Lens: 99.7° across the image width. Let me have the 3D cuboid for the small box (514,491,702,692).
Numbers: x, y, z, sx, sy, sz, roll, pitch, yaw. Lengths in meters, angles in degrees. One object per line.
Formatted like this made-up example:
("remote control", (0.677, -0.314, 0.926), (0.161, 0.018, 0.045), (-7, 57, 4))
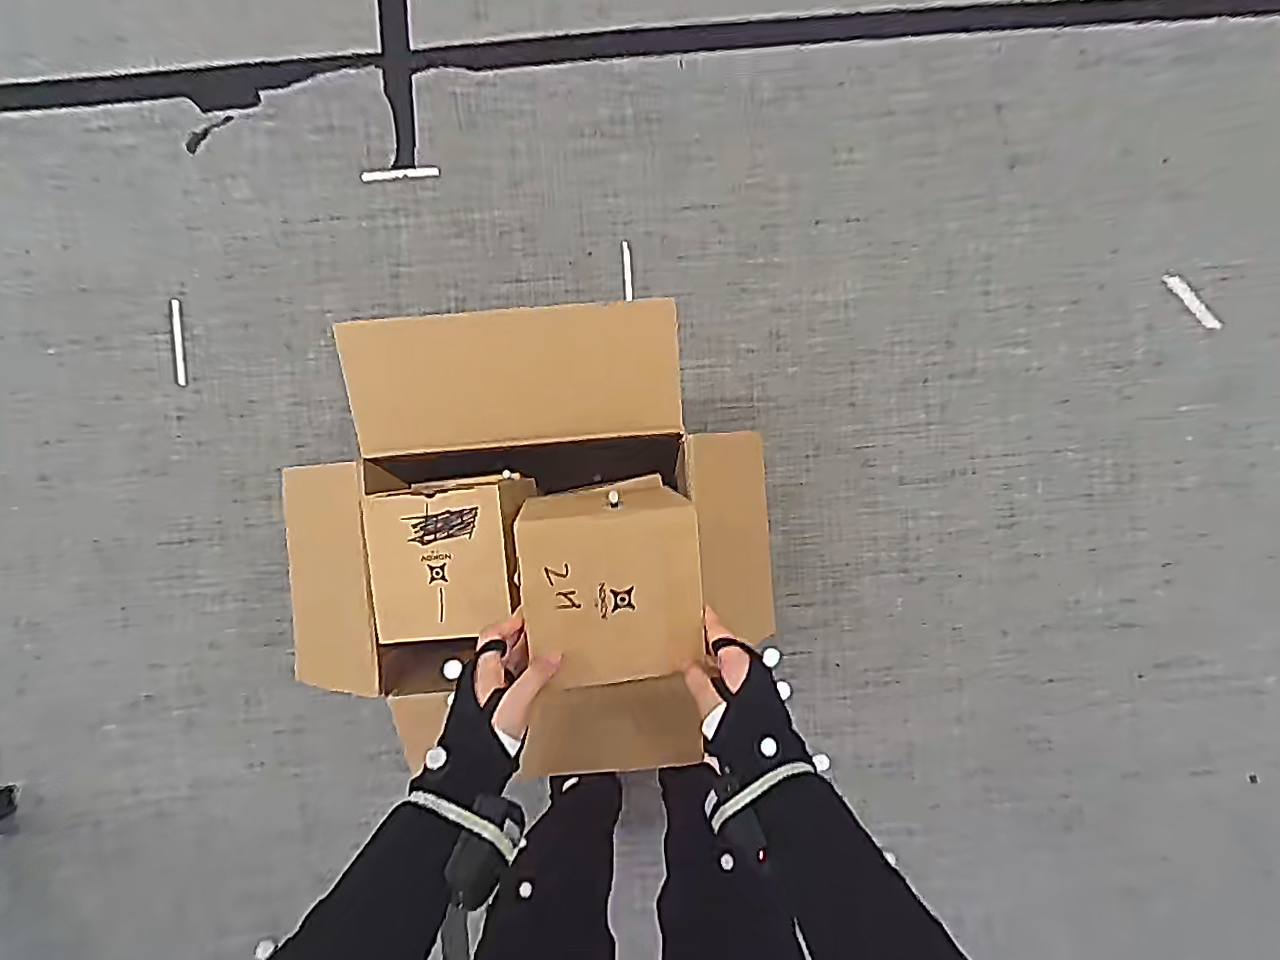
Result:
("small box", (-0.039, 0.108, 0.602), (0.179, 0.176, 0.168), (-5, 97, -7))
